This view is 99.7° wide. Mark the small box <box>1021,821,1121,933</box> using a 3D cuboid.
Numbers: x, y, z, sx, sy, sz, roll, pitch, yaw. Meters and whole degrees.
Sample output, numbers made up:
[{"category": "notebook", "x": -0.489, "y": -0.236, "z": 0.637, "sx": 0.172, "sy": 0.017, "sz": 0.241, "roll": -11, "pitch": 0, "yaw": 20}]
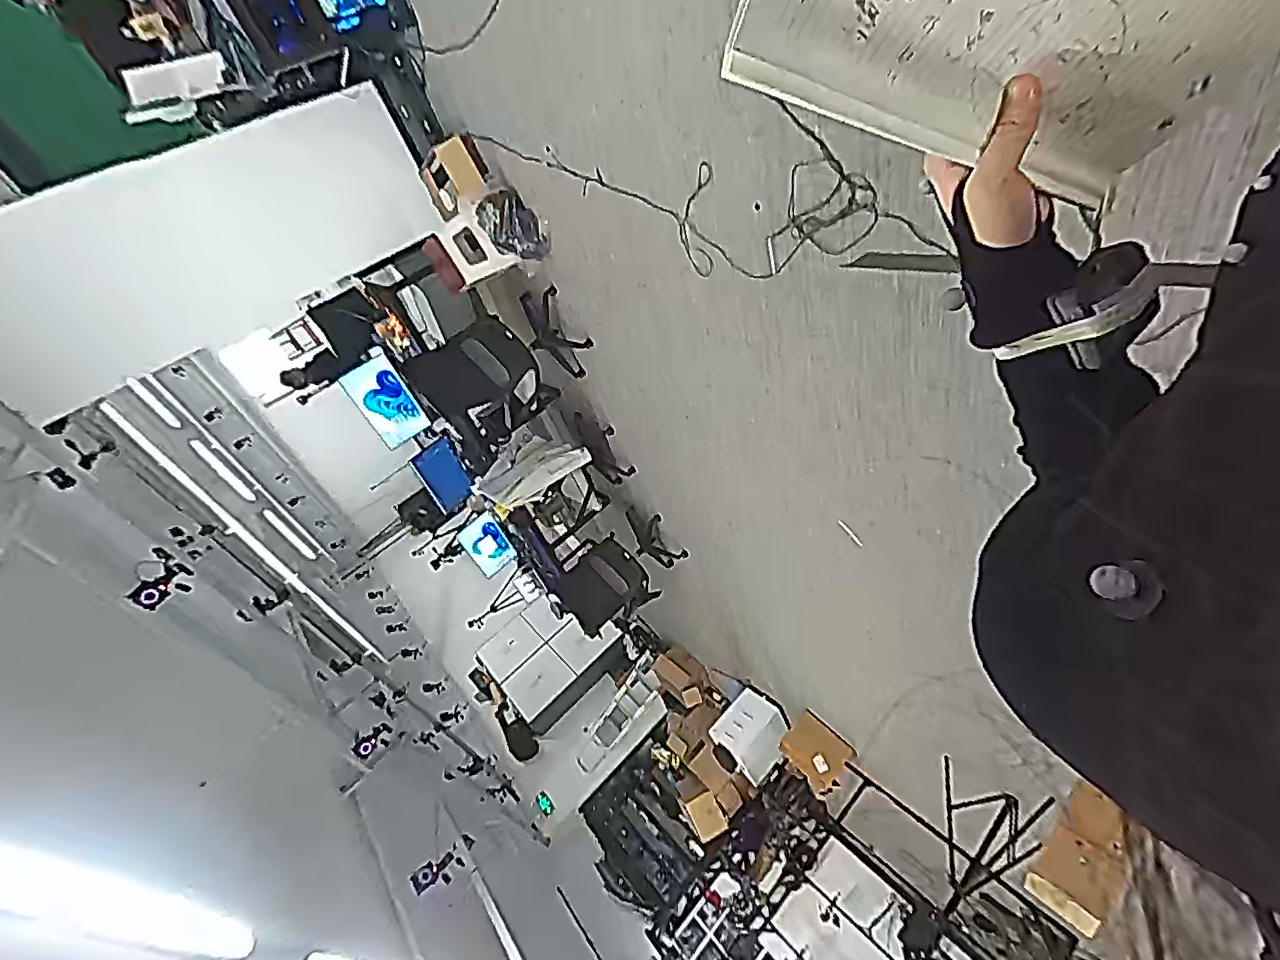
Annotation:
[{"category": "small box", "x": 1.216, "y": 1.115, "z": 1.527, "sx": 0.168, "sy": 0.176, "sz": 0.179, "roll": 26, "pitch": 149, "yaw": 46}]

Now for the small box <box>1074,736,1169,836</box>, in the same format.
[{"category": "small box", "x": 1.456, "y": 0.919, "z": 1.637, "sx": 0.168, "sy": 0.176, "sz": 0.179, "roll": 26, "pitch": 149, "yaw": 48}]
